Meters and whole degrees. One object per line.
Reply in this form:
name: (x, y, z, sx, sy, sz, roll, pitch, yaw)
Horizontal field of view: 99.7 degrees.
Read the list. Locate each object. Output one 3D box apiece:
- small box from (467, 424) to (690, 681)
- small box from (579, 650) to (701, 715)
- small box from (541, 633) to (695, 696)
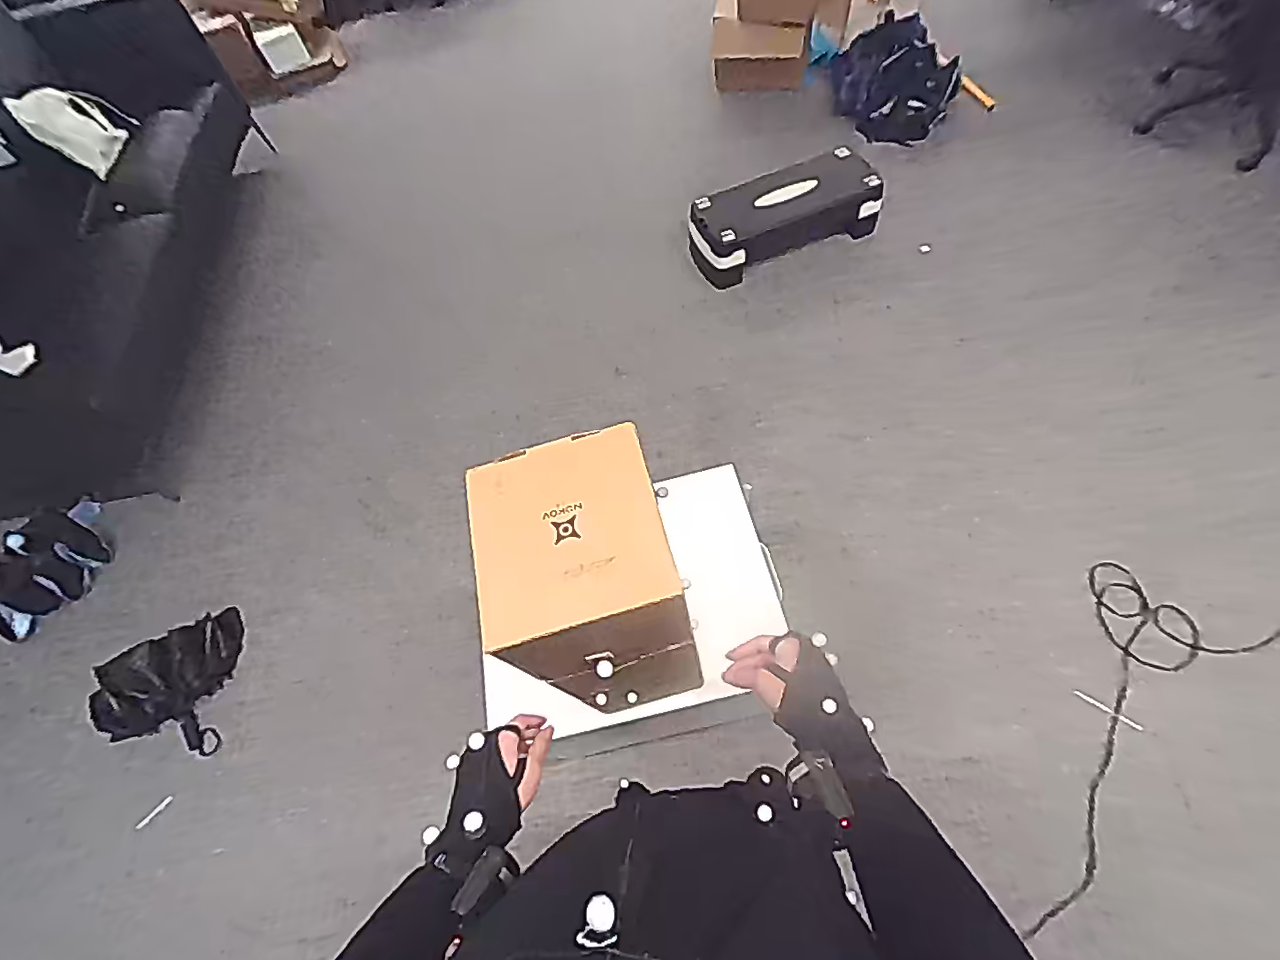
small box: (-0.054, 0.079, 0.535, 0.168, 0.176, 0.179, -17, 60, -1)
small box: (-0.012, 0.237, 0.819, 0.168, 0.176, 0.179, -18, 60, -1)
small box: (-0.033, 0.158, 0.676, 0.168, 0.176, 0.179, -16, 58, -1)
